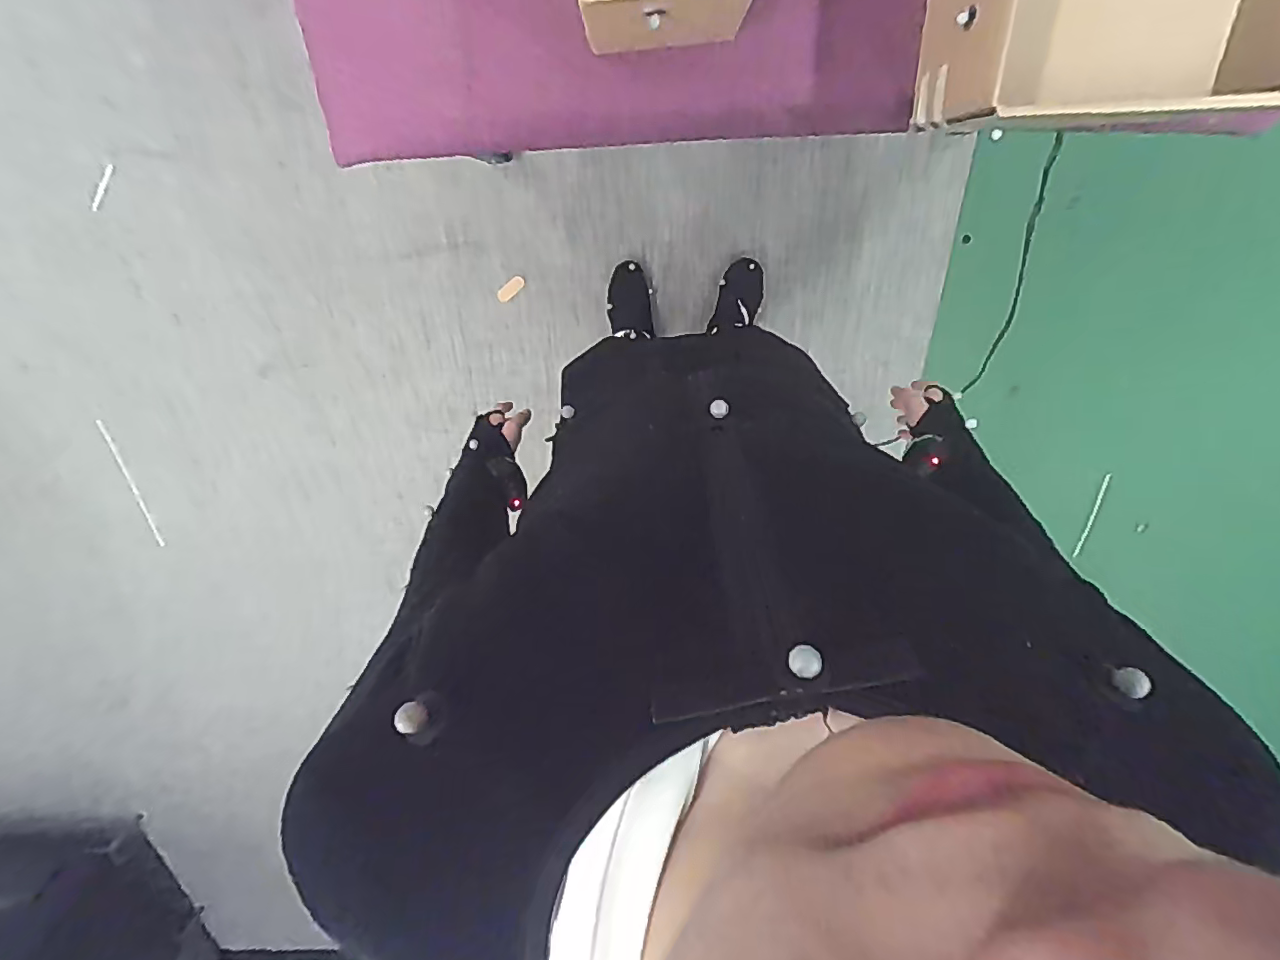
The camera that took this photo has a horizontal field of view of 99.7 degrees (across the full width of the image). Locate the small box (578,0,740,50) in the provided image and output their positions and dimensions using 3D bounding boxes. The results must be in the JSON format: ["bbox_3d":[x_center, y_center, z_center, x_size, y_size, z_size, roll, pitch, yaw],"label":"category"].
[{"bbox_3d":[0.018,-0.572,0.556,0.179,0.176,0.168,-4,115,2],"label":"small box"}]

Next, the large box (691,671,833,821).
[{"bbox_3d":[0.452,1.016,2.076,0.408,0.320,0.320,-31,113,13],"label":"large box"}]
